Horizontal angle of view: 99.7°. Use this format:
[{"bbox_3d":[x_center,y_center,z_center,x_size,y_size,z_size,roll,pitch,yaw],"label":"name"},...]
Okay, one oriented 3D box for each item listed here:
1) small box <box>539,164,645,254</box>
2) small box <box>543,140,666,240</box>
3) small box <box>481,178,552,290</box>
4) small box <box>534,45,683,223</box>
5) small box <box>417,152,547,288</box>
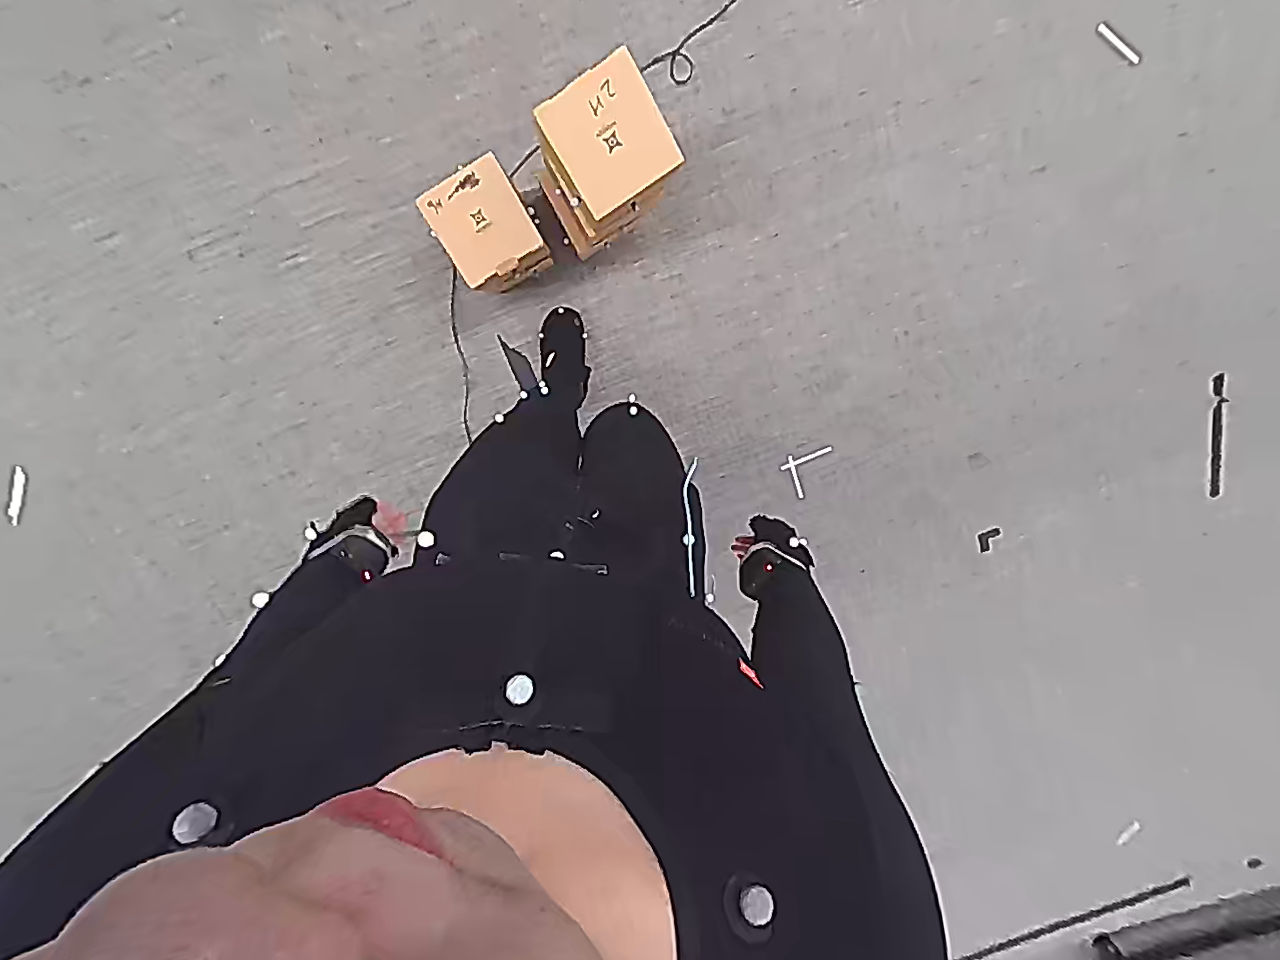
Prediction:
[{"bbox_3d":[-0.107,-0.625,1.201,0.168,0.176,0.179,-30,109,5],"label":"small box"},{"bbox_3d":[-0.070,-0.588,1.043,0.168,0.176,0.179,-29,110,5],"label":"small box"},{"bbox_3d":[-0.307,-0.543,1.210,0.168,0.176,0.179,-26,109,3],"label":"small box"},{"bbox_3d":[-0.051,-0.543,0.885,0.168,0.176,0.179,-32,109,5],"label":"small box"},{"bbox_3d":[-0.294,-0.495,1.053,0.168,0.176,0.179,-29,109,4],"label":"small box"}]
